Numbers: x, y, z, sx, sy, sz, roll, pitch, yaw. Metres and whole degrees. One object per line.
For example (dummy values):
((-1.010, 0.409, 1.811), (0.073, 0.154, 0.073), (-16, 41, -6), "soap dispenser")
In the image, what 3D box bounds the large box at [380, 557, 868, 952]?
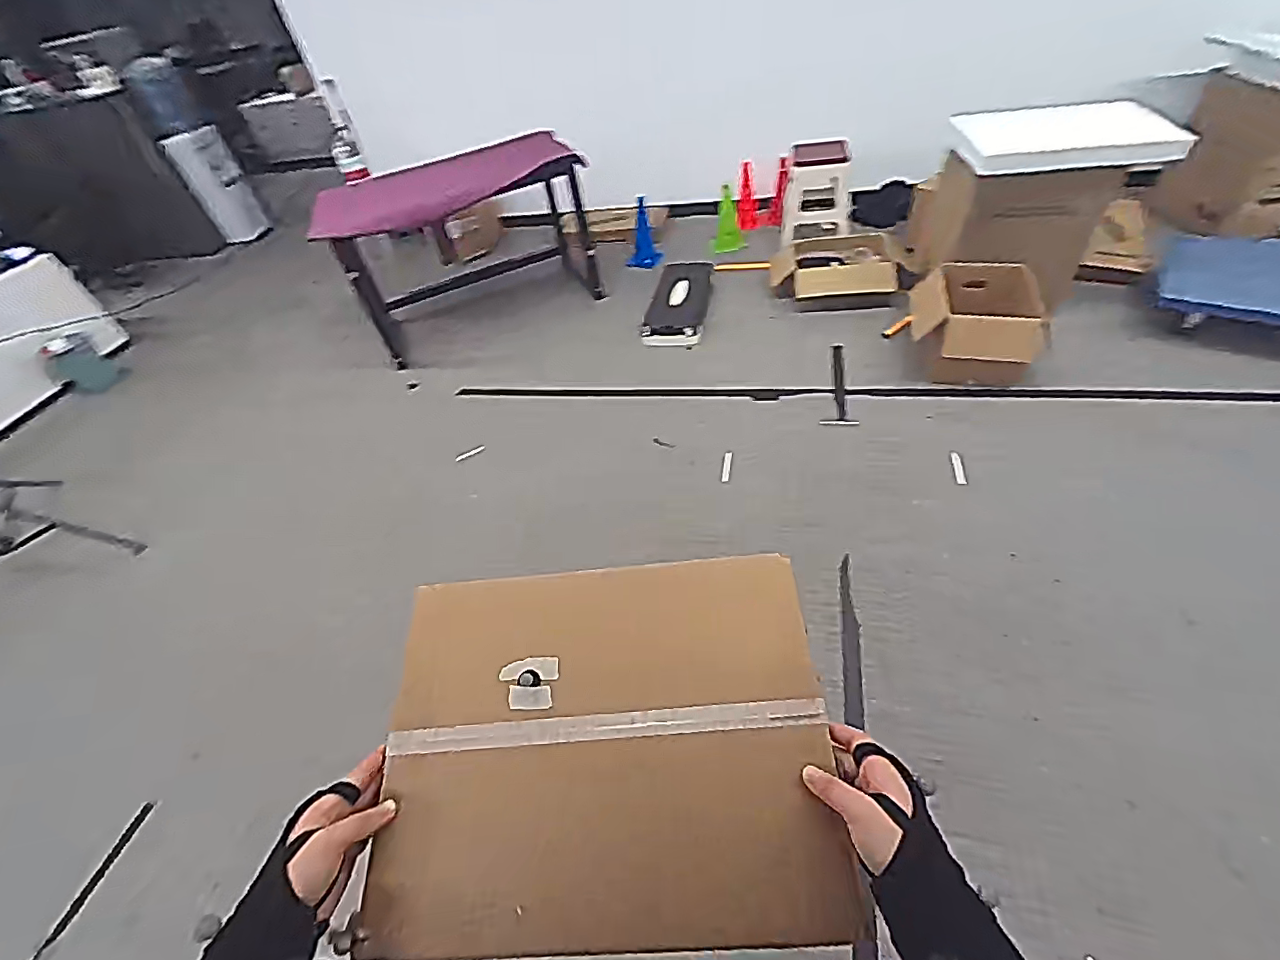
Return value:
((-0.007, 0.311, 0.633), (0.408, 0.320, 0.320), (-7, 57, 5), "large box")
